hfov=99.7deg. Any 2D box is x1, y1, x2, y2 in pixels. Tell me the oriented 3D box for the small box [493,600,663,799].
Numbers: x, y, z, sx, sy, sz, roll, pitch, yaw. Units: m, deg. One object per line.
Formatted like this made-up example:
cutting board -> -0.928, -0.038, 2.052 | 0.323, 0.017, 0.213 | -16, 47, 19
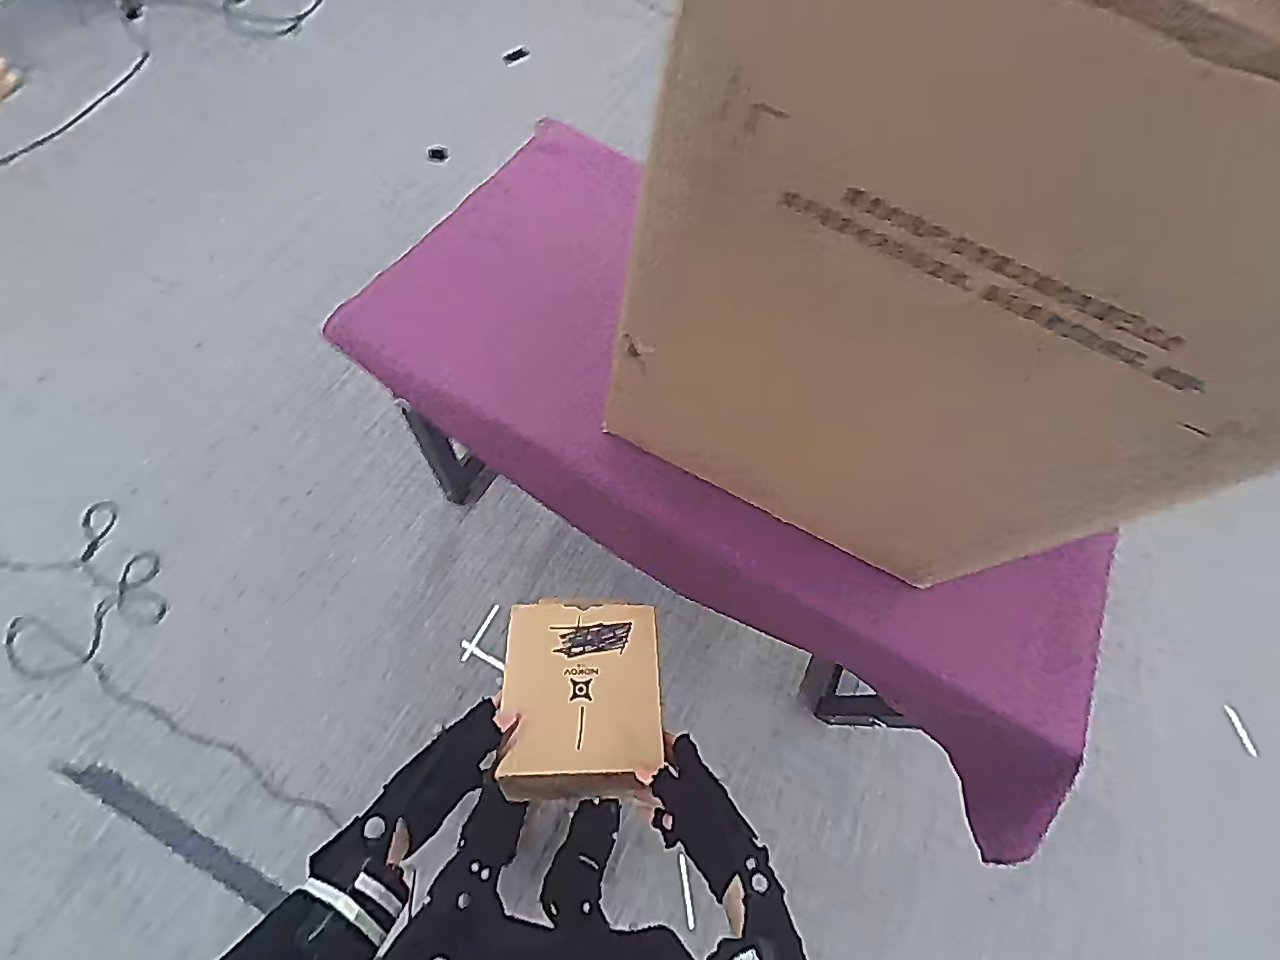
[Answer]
small box -> -0.071, 0.256, 0.628 | 0.168, 0.176, 0.179 | 2, 52, -7
